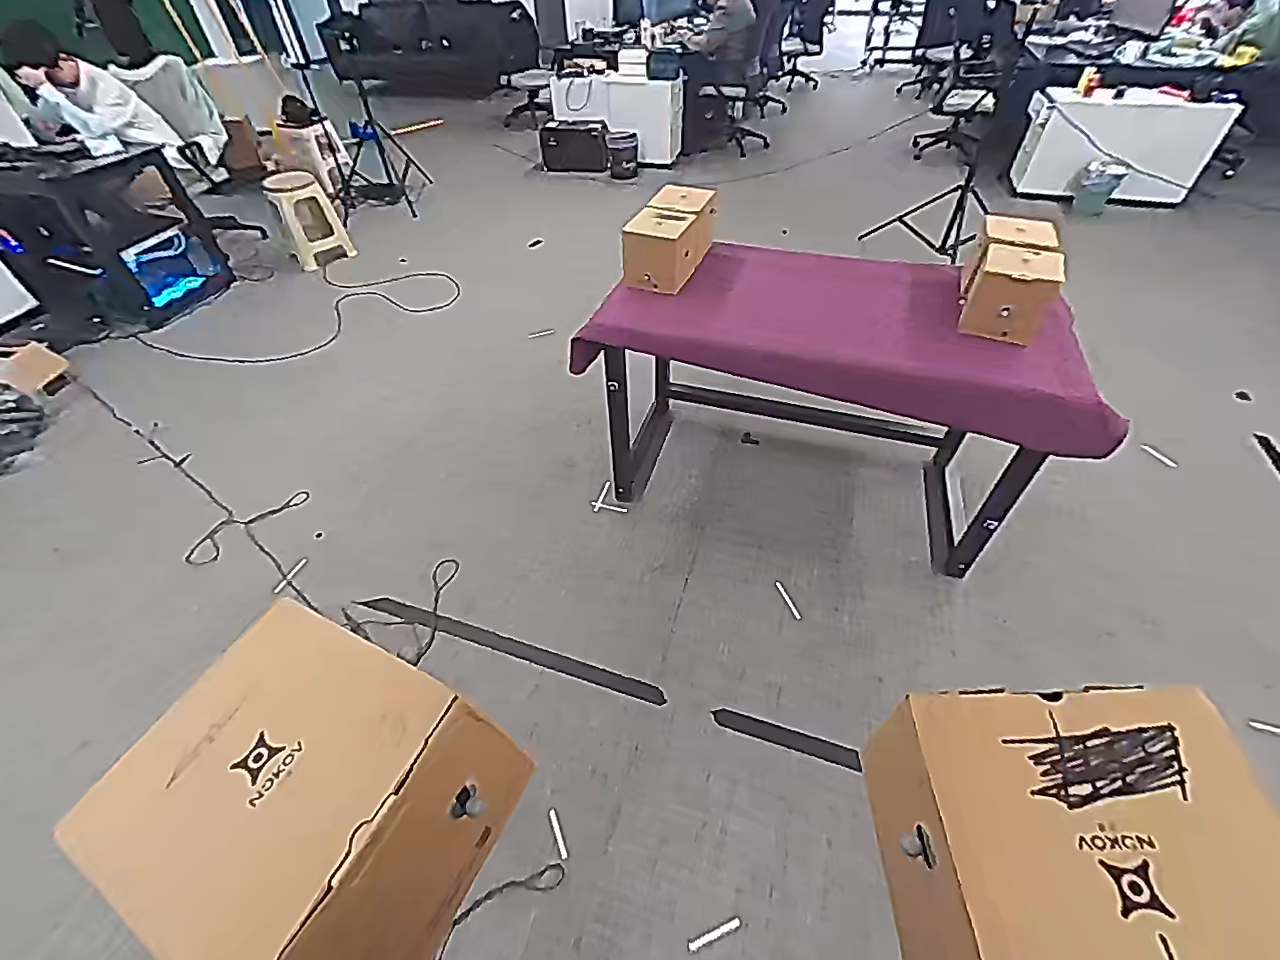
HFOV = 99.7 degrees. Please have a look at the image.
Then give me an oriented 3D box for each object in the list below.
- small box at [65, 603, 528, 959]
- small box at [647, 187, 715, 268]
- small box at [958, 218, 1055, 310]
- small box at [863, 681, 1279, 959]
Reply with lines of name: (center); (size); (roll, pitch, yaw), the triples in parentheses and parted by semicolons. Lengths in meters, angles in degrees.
small box: (-0.205, 0.220, 0.377); (0.179, 0.176, 0.168); (15, 53, 23)
small box: (0.127, -0.795, 1.701); (0.168, 0.176, 0.179); (16, 50, 16)
small box: (0.999, -0.596, 1.489); (0.168, 0.176, 0.179); (16, 48, 15)
small box: (0.254, 0.242, 0.337); (0.168, 0.176, 0.179); (-5, 52, 6)
